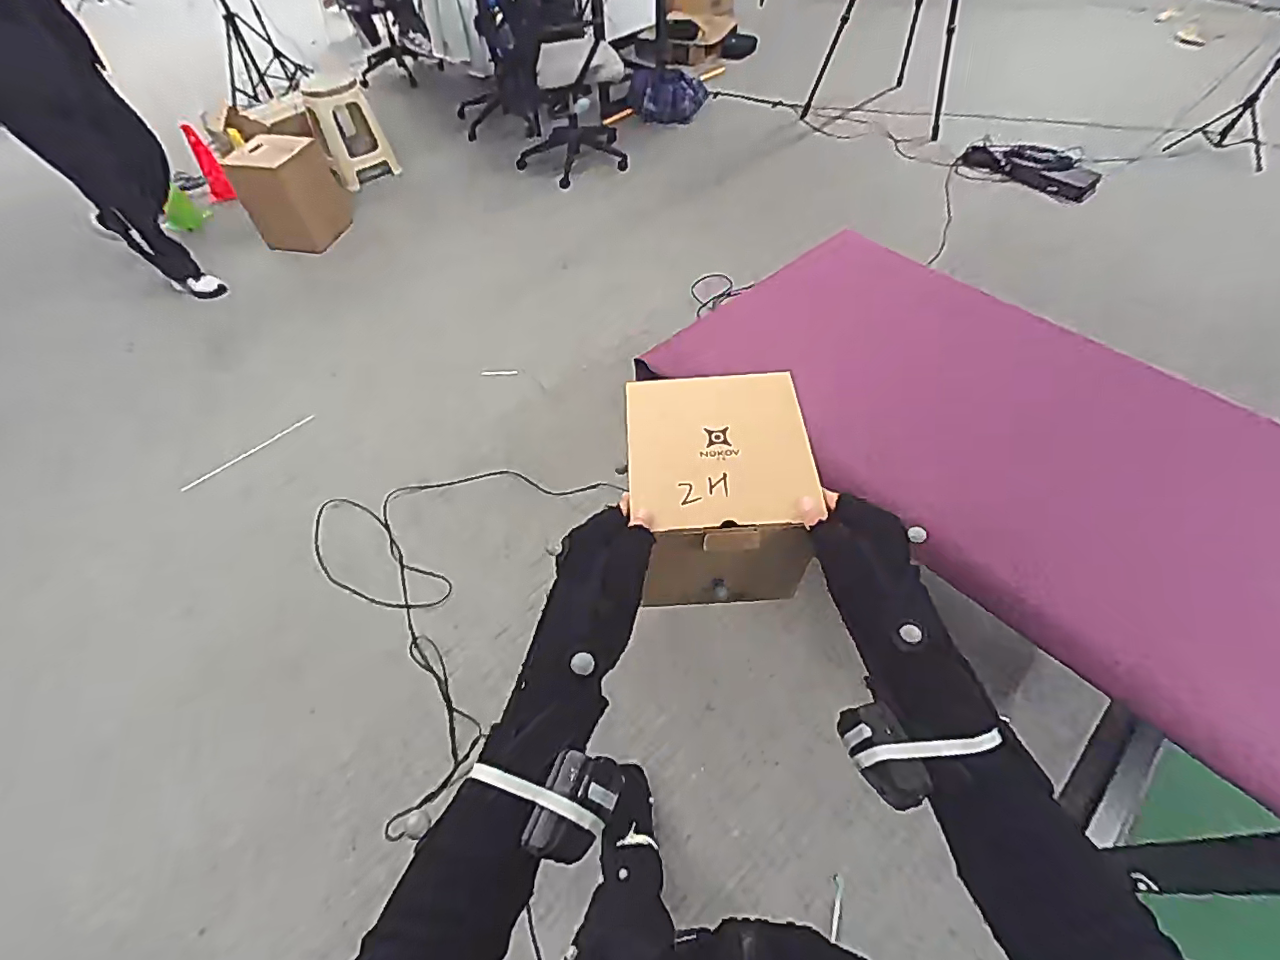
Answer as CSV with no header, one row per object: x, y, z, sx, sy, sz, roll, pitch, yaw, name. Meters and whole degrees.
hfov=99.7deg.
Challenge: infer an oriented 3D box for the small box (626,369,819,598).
0.072,0.008,0.566,0.168,0.176,0.179,-4,56,2,small box
